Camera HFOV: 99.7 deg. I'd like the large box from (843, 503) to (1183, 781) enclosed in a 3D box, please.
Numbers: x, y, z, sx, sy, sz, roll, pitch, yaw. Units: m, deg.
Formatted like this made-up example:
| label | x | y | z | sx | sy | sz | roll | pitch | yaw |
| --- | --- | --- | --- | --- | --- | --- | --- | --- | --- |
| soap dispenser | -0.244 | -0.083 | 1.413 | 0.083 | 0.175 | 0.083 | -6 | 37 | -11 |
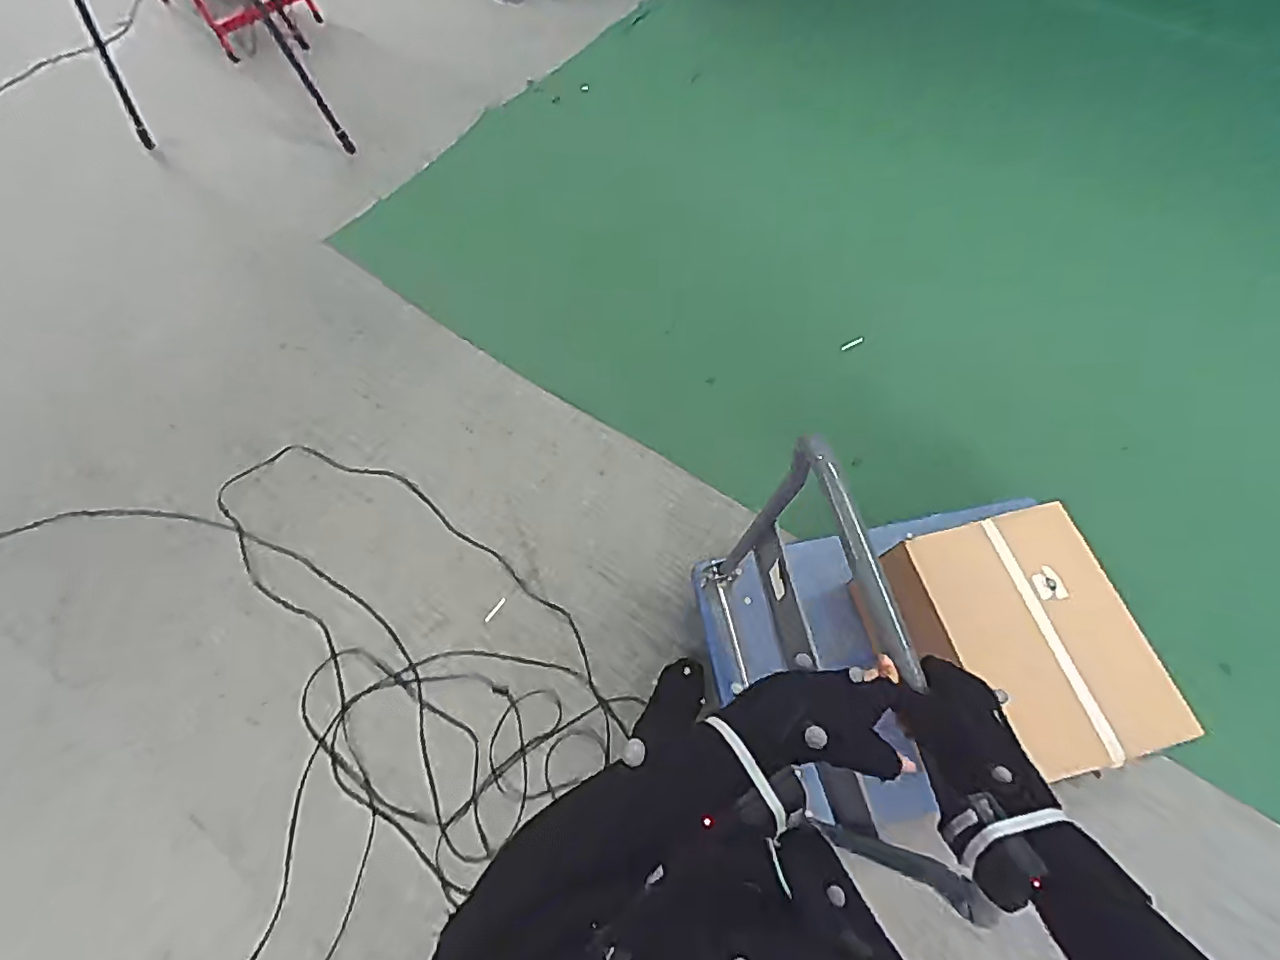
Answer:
| label | x | y | z | sx | sy | sz | roll | pitch | yaw |
| --- | --- | --- | --- | --- | --- | --- | --- | --- | --- |
| large box | 0.656 | 0.314 | 1.044 | 0.320 | 0.320 | 0.408 | -12 | 64 | -7 |
